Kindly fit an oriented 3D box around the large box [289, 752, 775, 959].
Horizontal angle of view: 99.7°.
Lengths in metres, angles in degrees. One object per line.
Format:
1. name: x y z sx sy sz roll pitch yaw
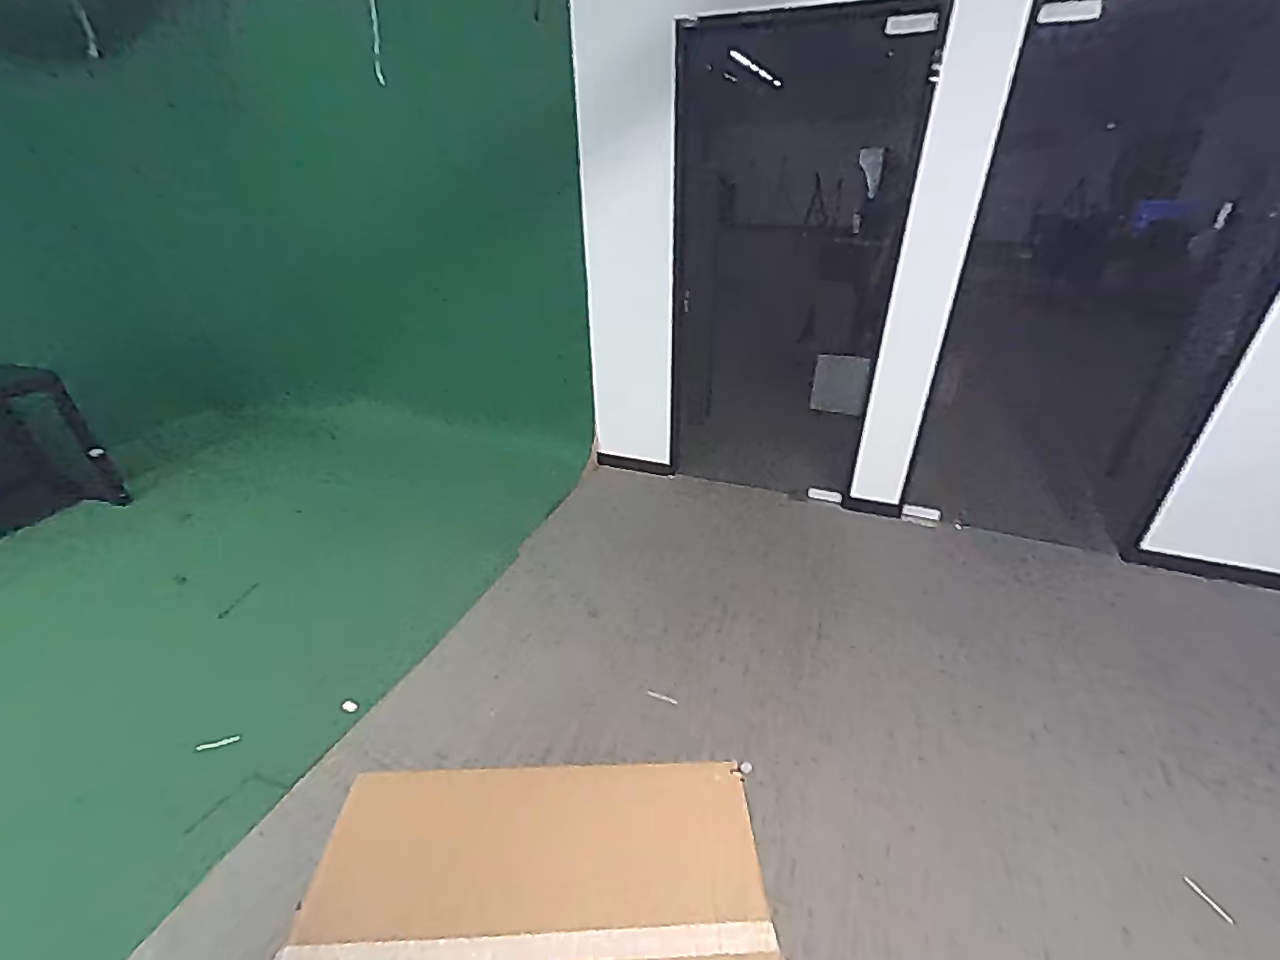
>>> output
1. large box: -0.095 0.511 0.536 0.408 0.320 0.320 1 31 -4
